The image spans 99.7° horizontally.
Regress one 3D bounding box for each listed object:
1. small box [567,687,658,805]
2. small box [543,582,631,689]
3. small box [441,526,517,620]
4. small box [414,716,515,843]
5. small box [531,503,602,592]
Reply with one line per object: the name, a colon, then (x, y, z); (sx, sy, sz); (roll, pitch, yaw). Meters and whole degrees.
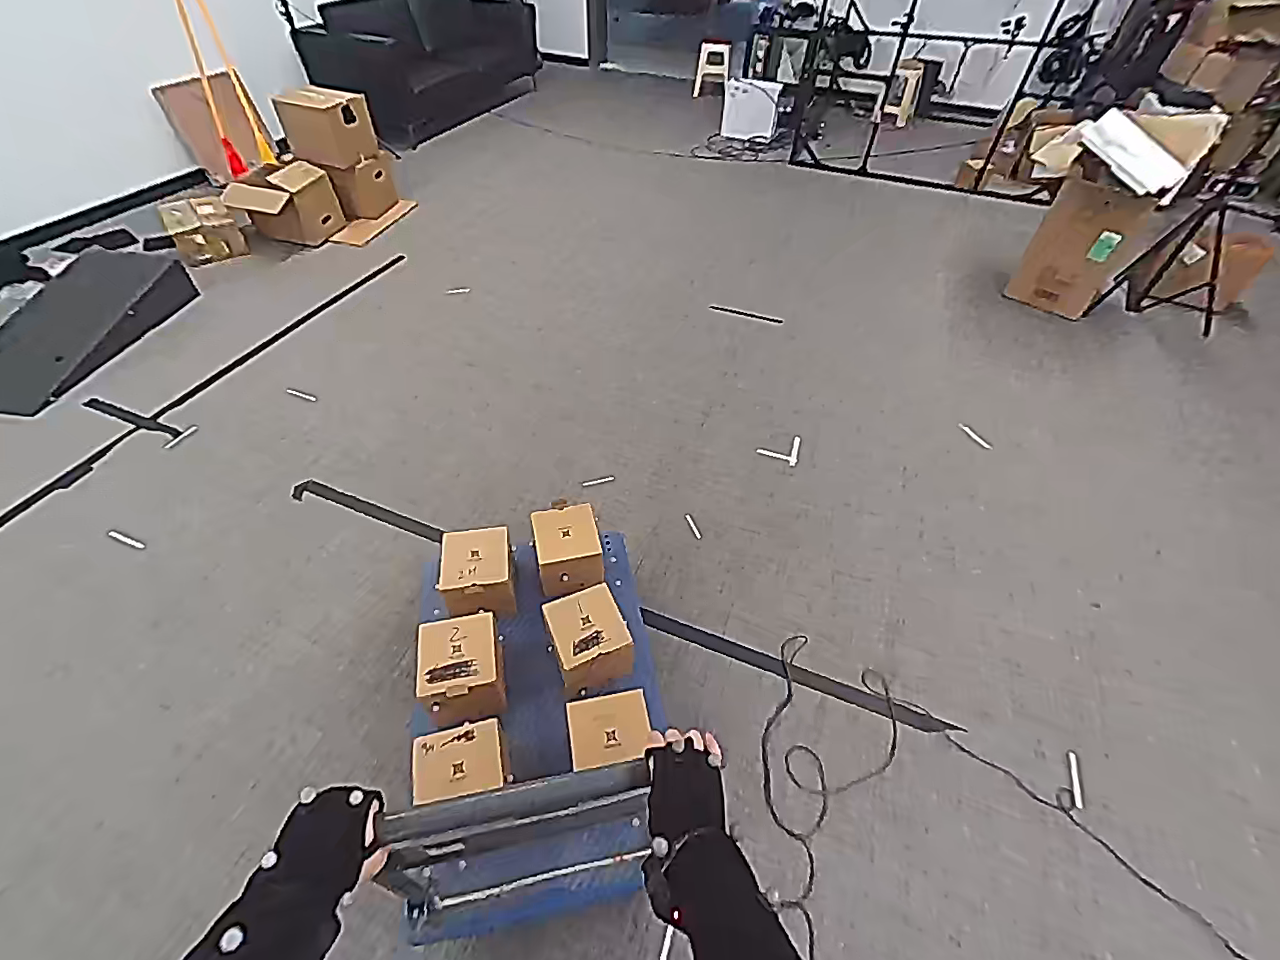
small box: (-0.061, 0.570, 1.150); (0.168, 0.176, 0.179); (-6, 47, -10)
small box: (-0.127, 0.385, 1.317); (0.168, 0.176, 0.179); (-17, 50, -18)
small box: (-0.420, 0.245, 1.427); (0.168, 0.176, 0.179); (-6, 49, -9)
small box: (-0.351, 0.611, 1.094); (0.168, 0.176, 0.179); (-9, 49, -13)
small box: (-0.201, 0.191, 1.494); (0.168, 0.176, 0.179); (-10, 48, -12)
